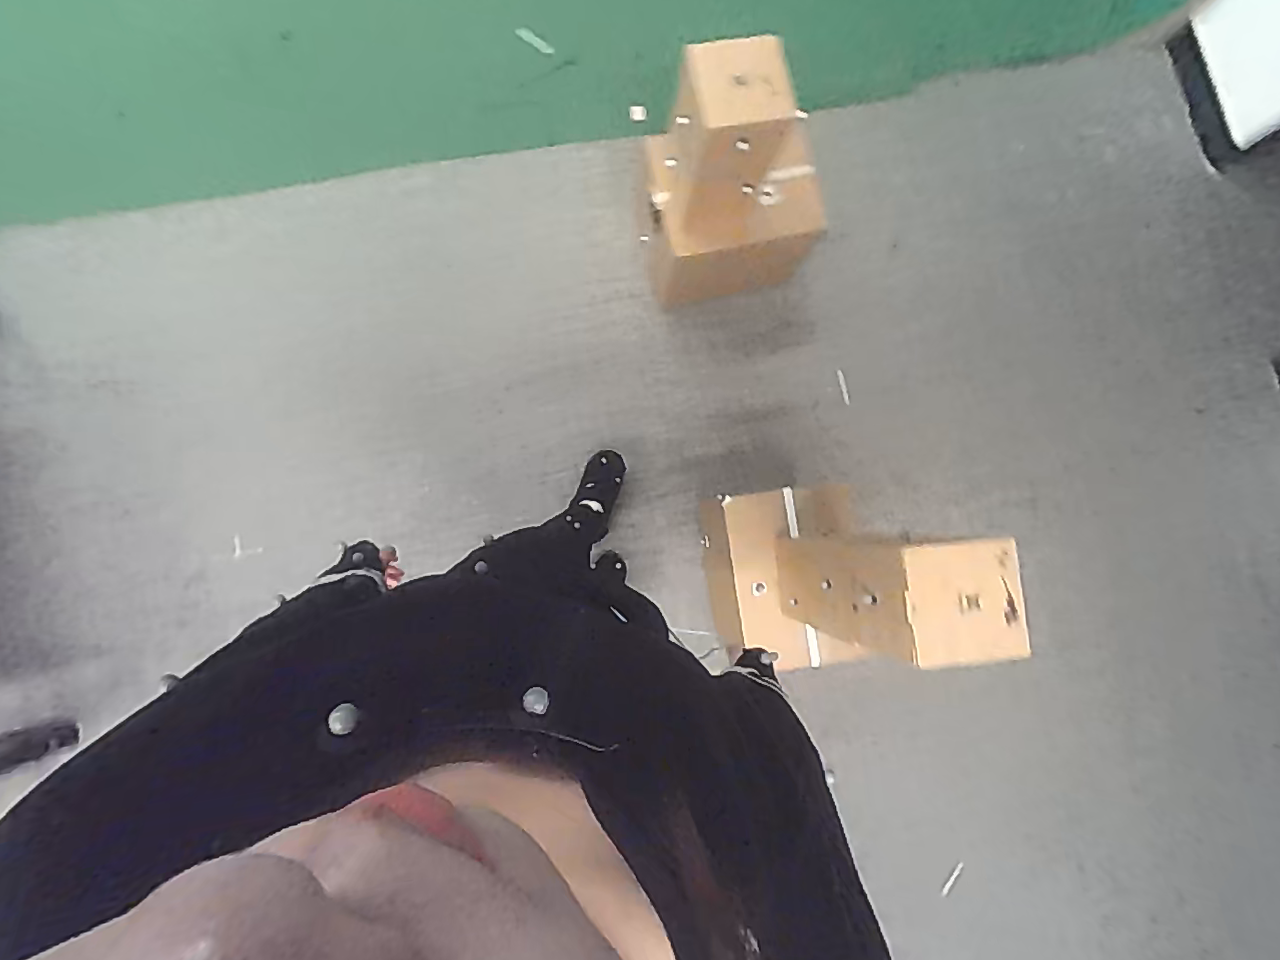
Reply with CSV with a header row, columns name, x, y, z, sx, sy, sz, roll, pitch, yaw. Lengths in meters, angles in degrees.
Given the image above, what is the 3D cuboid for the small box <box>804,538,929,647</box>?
name,x,y,z,sx,sy,sz,roll,pitch,yaw
small box,0.415,0.198,0.993,0.168,0.176,0.179,-1,84,-8

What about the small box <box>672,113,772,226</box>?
name,x,y,z,sx,sy,sz,roll,pitch,yaw
small box,0.174,-0.699,1.220,0.179,0.176,0.168,-11,86,-7

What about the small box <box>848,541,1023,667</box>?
name,x,y,z,sx,sy,sz,roll,pitch,yaw
small box,0.437,0.180,0.831,0.179,0.176,0.168,-2,85,-7

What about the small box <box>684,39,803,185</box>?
name,x,y,z,sx,sy,sz,roll,pitch,yaw
small box,0.189,-0.706,1.055,0.179,0.176,0.168,-11,86,-7

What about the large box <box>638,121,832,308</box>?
name,x,y,z,sx,sy,sz,roll,pitch,yaw
large box,0.234,-0.706,1.472,0.408,0.320,0.320,-13,86,-7

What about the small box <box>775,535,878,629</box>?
name,x,y,z,sx,sy,sz,roll,pitch,yaw
small box,0.400,0.210,1.156,0.168,0.176,0.179,-3,85,-7
